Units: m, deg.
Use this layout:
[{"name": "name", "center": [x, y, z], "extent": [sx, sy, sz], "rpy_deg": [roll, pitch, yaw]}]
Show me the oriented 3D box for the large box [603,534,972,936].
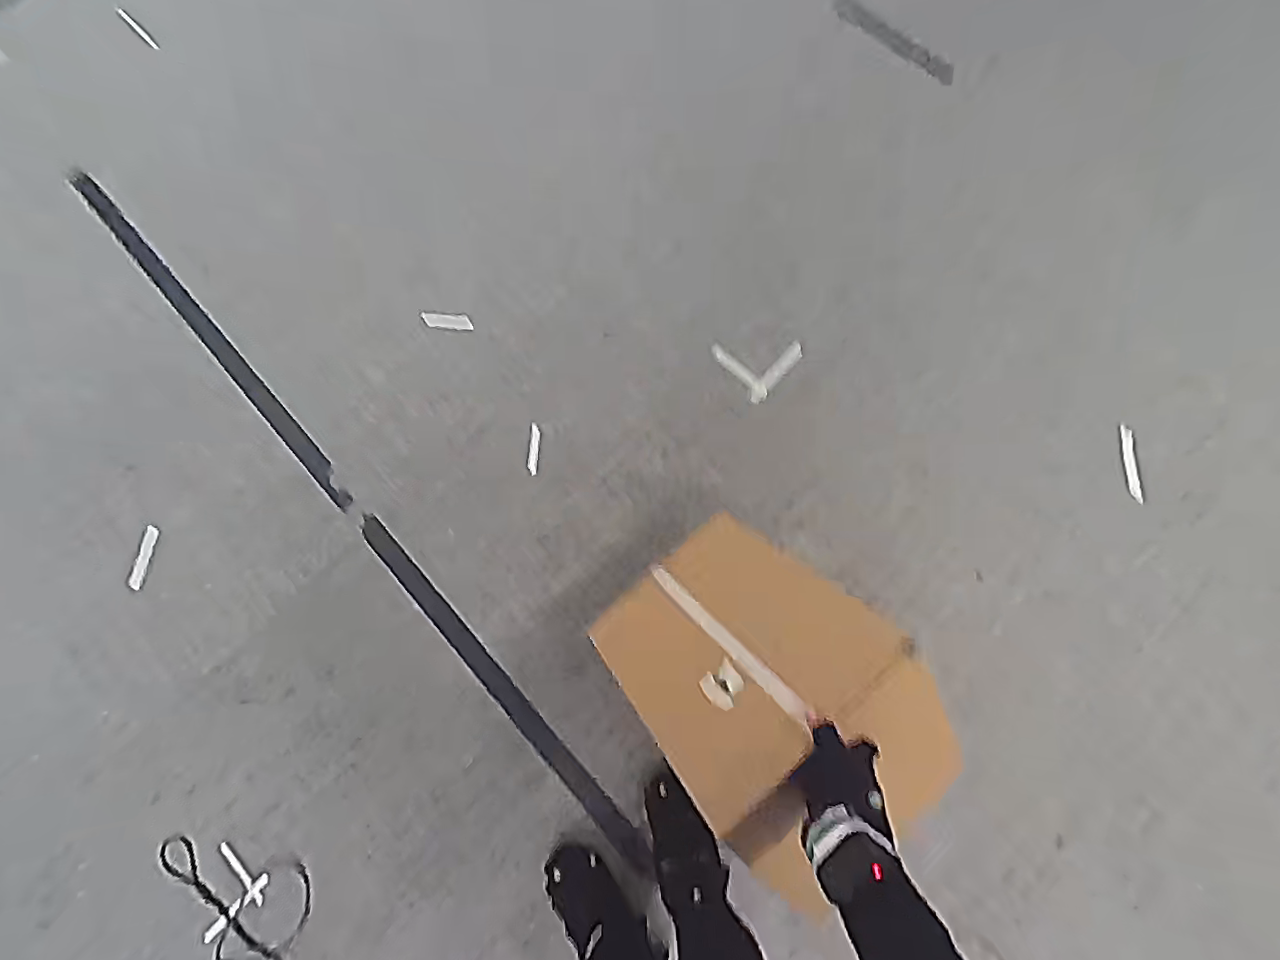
[{"name": "large box", "center": [0.208, 0.353, 0.837], "extent": [0.320, 0.408, 0.320], "rpy_deg": [-40, 121, -9]}]
